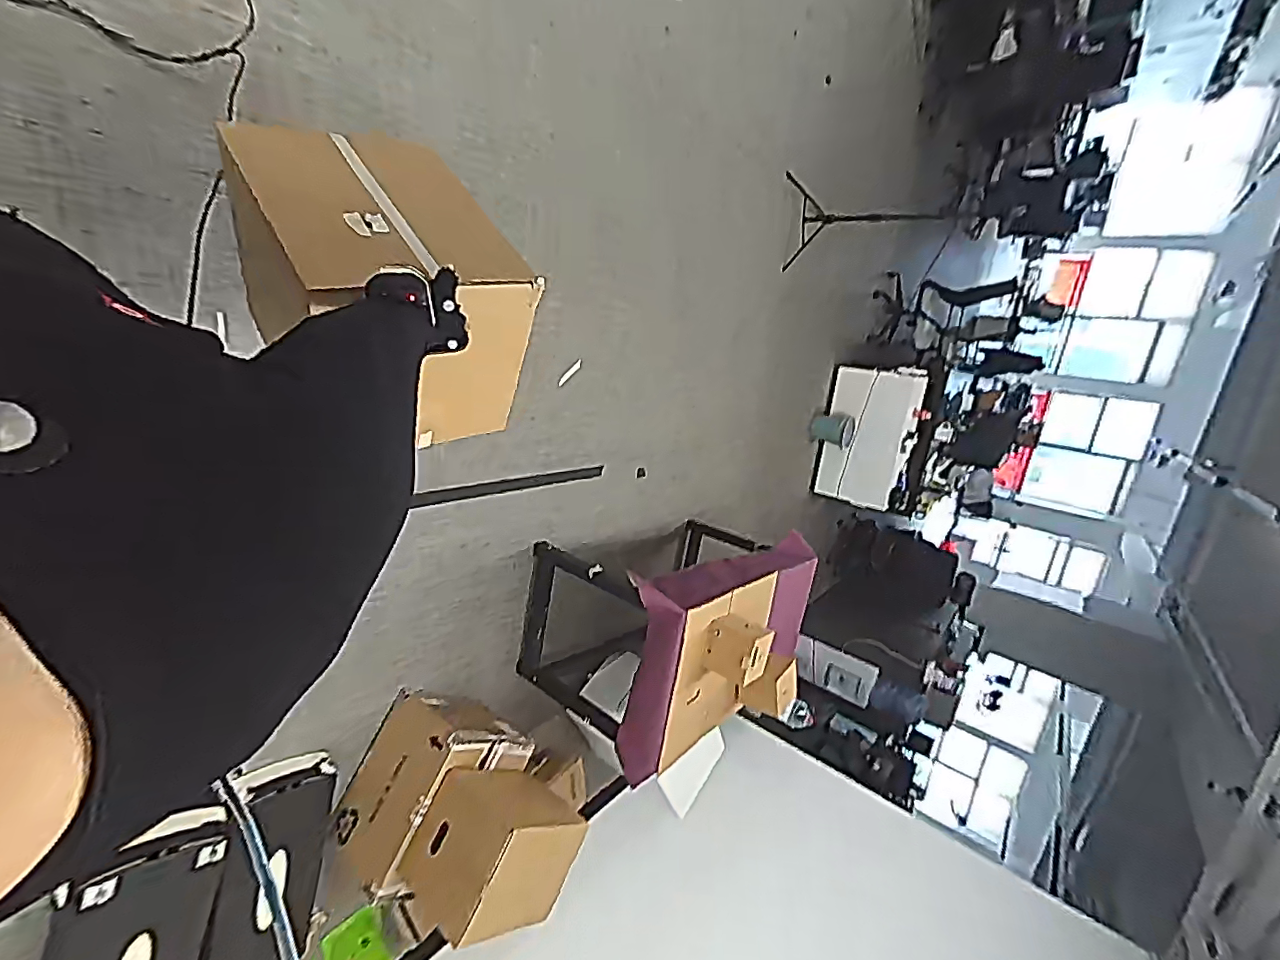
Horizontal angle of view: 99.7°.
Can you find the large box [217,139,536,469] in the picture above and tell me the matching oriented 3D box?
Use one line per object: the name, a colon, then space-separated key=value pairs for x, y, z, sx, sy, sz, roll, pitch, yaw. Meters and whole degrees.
large box: x=-0.438 y=-0.289 z=0.901 sx=0.320 sy=0.408 sz=0.320 roll=-20 pitch=153 yaw=-39
